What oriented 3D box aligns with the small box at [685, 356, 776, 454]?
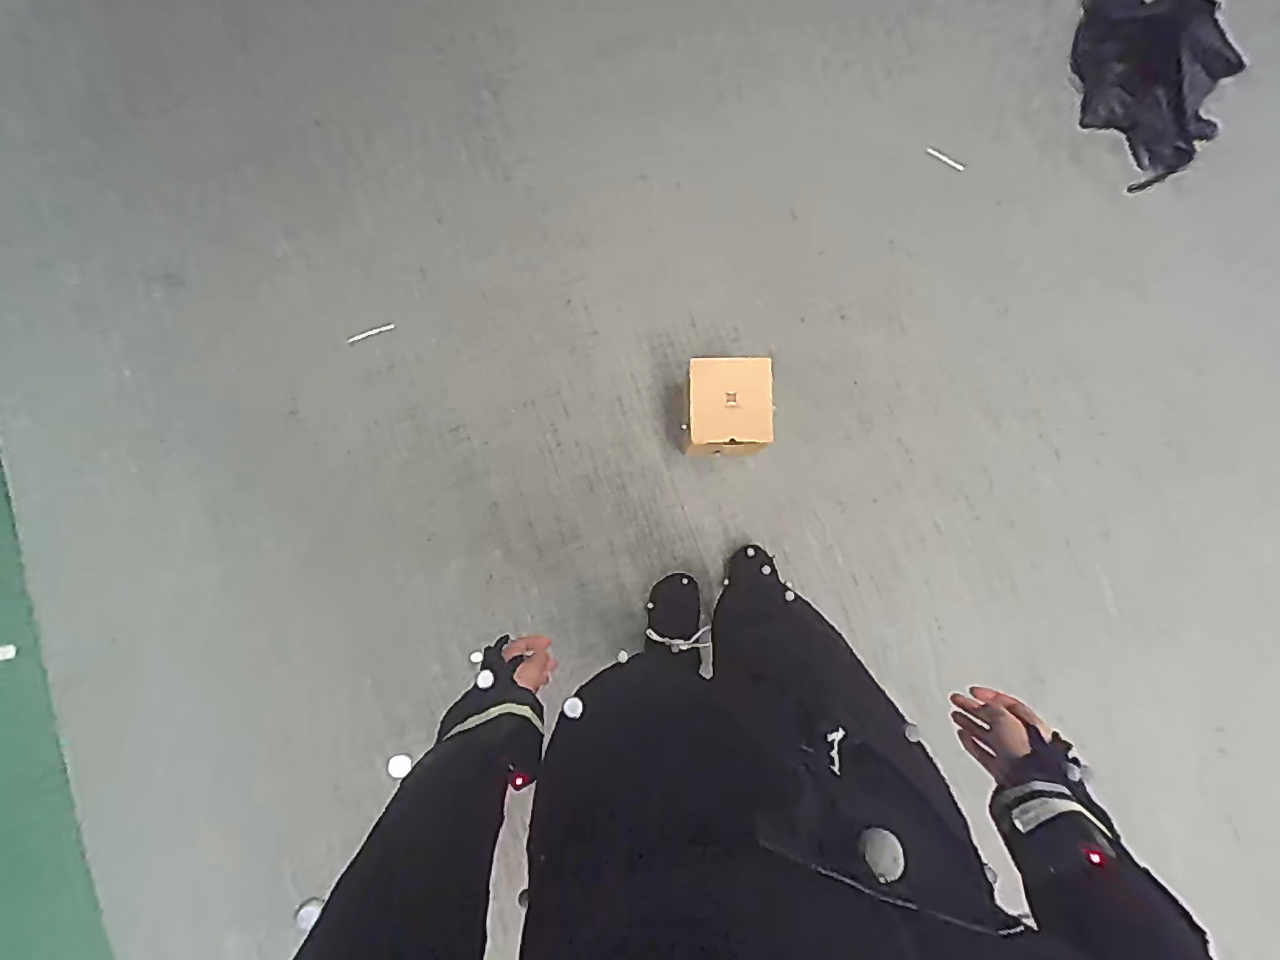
[{"bbox_3d":[0.185,-0.153,1.147,0.168,0.176,0.179,0,85,-1],"label":"small box"}]
